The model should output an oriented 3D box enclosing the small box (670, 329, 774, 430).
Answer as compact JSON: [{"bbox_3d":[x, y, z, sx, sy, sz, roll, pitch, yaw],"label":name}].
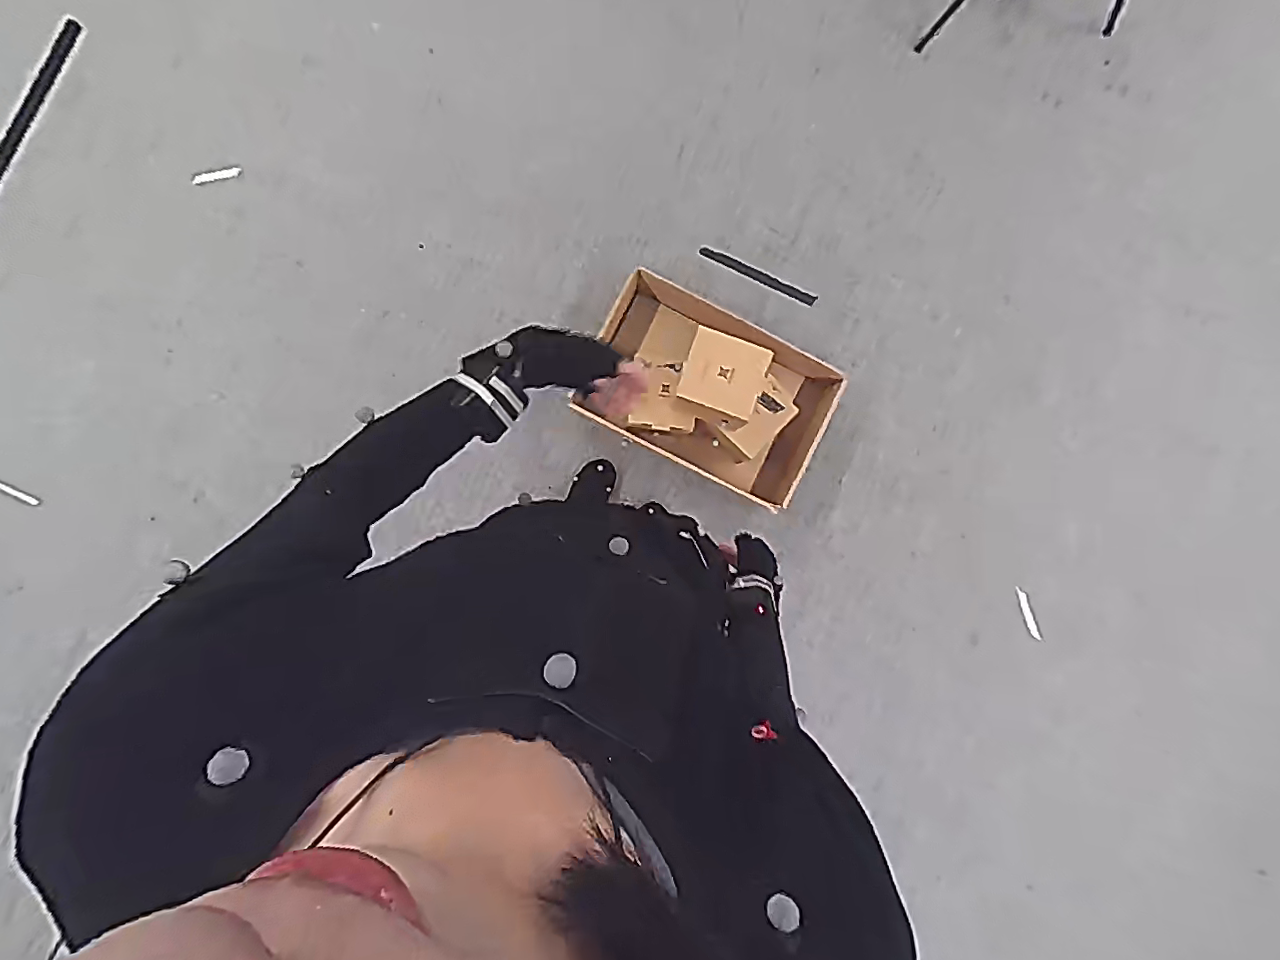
[{"bbox_3d":[0.180,-0.221,1.242,0.179,0.176,0.168,19,87,-1],"label":"small box"}]
